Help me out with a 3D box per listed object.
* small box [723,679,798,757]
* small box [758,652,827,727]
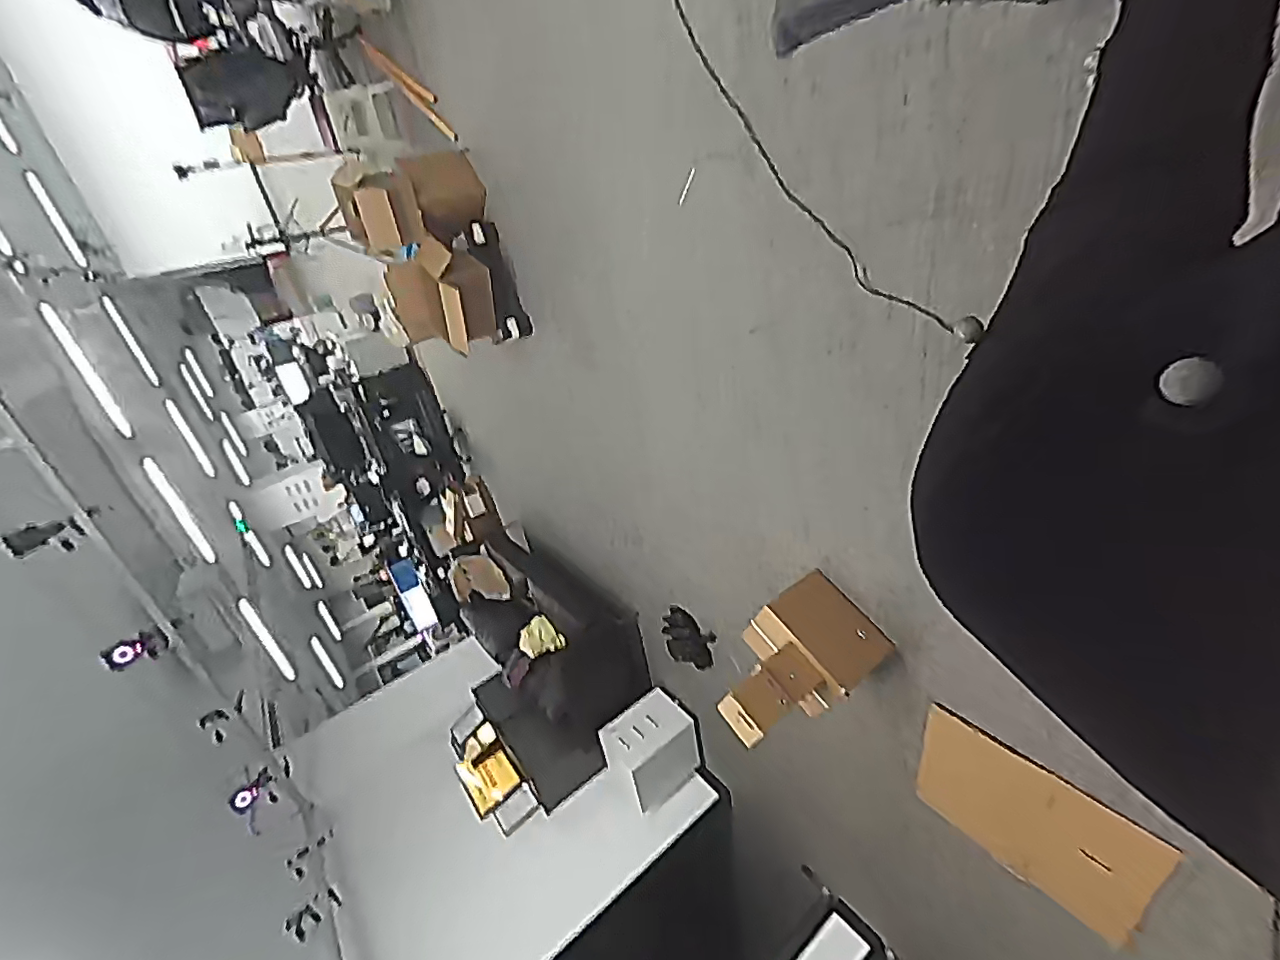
[{"bbox_3d":[0.426,0.828,1.892,0.168,0.176,0.179,49,149,26],"label":"small box"},{"bbox_3d":[0.553,0.766,1.981,0.179,0.176,0.168,46,148,31],"label":"small box"}]
